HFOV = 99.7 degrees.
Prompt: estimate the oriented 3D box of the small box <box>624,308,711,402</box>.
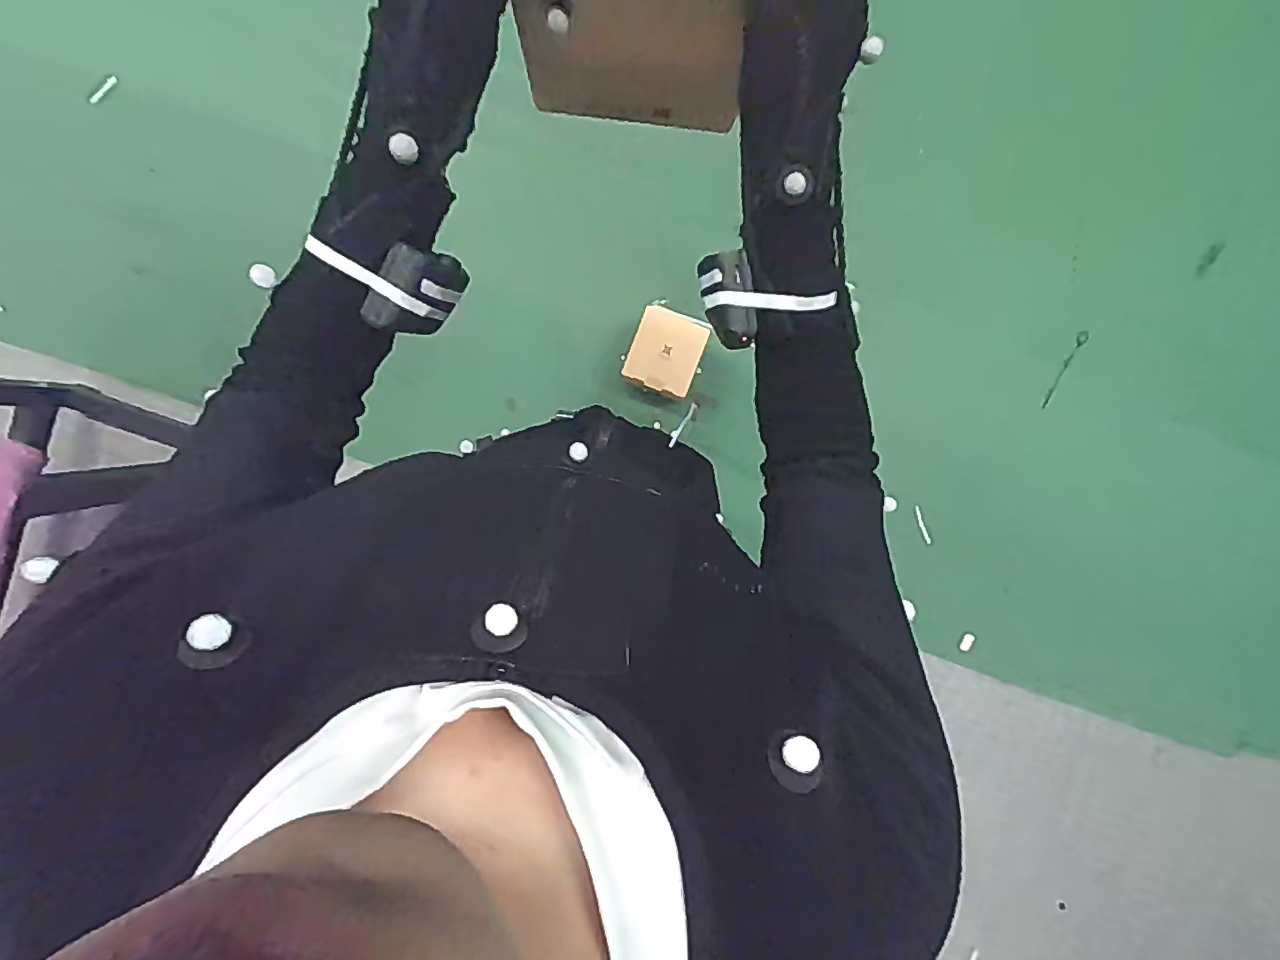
[{"bbox_3d":[0.063,-0.309,1.369,0.168,0.176,0.179,21,95,-3],"label":"small box"}]
